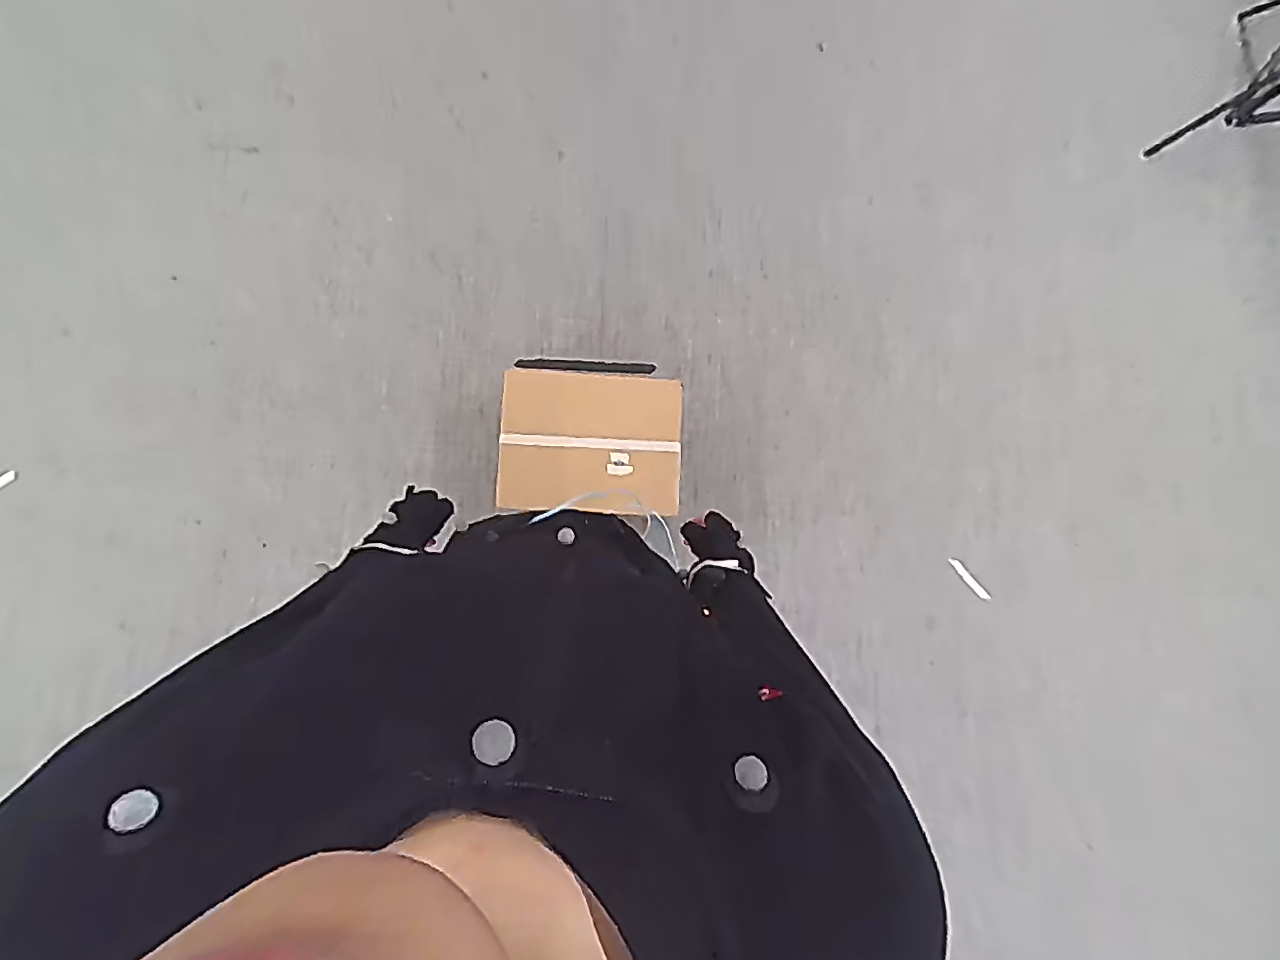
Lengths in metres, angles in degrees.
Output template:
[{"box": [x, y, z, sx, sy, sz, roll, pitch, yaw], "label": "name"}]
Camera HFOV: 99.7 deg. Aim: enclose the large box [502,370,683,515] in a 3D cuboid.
[{"box": [-0.116, -0.074, 1.369, 0.408, 0.320, 0.320, 3, 85, -4], "label": "large box"}]
